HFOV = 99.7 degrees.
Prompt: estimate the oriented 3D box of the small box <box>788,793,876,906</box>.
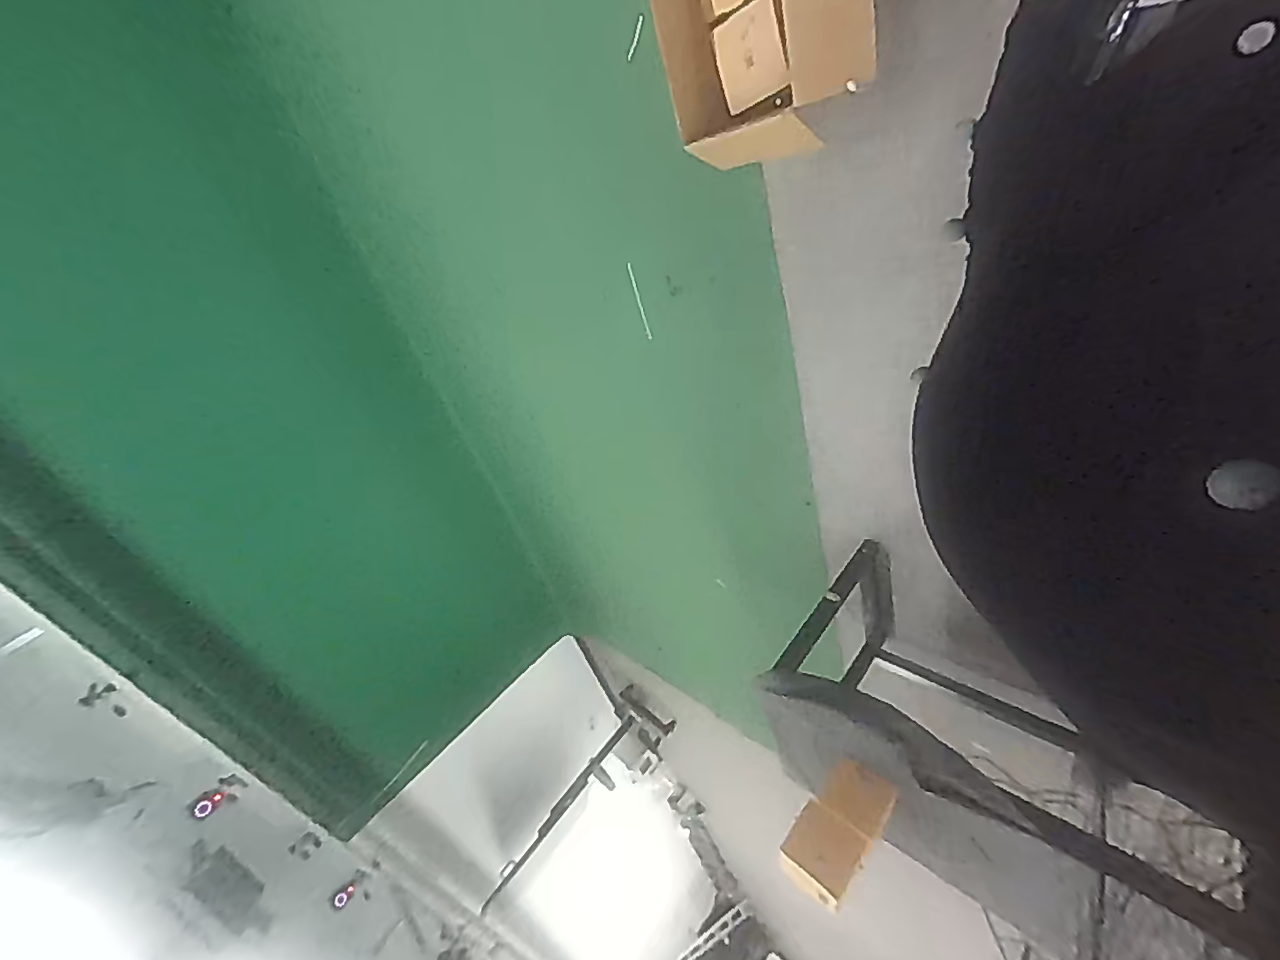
[{"bbox_3d":[0.534,1.021,1.503,0.179,0.176,0.168,26,143,37],"label":"small box"}]
